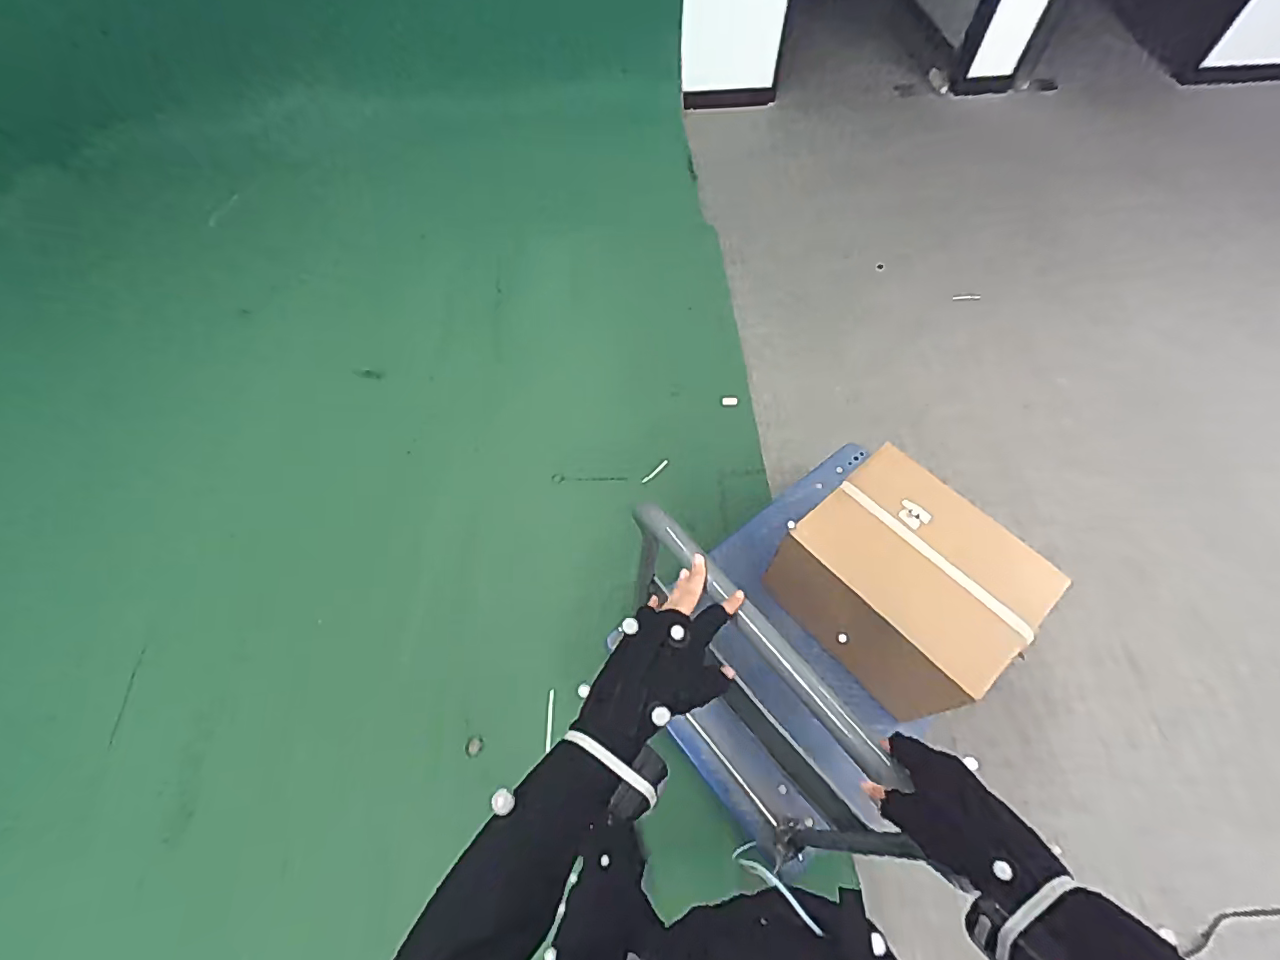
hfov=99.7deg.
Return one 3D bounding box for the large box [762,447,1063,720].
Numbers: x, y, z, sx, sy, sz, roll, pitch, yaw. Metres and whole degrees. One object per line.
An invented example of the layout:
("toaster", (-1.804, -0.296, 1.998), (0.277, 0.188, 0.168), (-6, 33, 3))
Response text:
("large box", (0.521, 0.218, 1.123), (0.320, 0.320, 0.408), (-37, 64, -19))
